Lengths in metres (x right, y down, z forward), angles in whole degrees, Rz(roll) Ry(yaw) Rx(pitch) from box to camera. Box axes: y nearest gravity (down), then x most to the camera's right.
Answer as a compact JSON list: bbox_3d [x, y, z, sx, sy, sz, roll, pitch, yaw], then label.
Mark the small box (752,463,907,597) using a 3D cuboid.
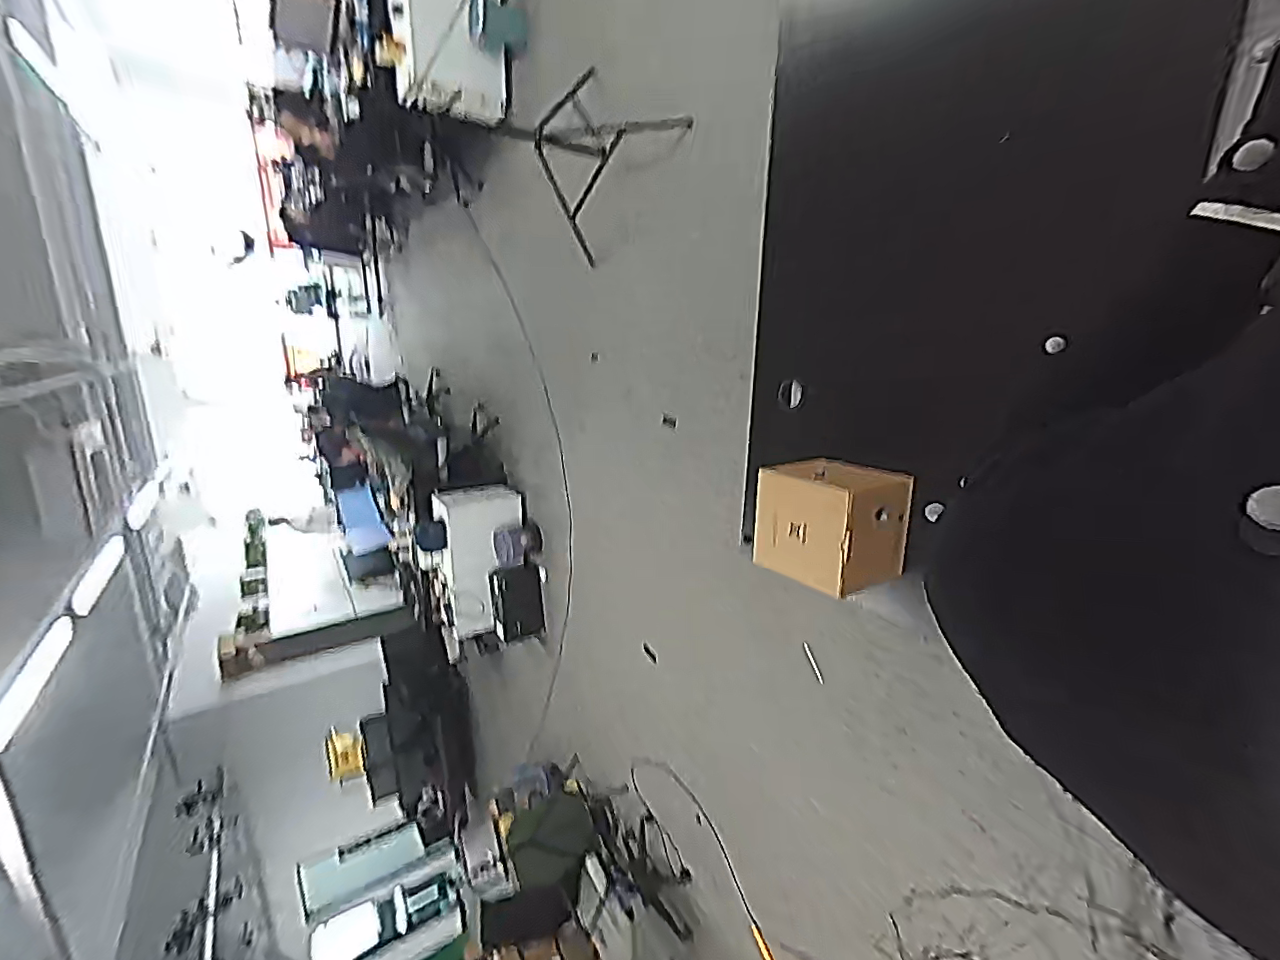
[{"bbox_3d":[0.309,0.069,0.889,0.179,0.176,0.168,18,111,54],"label":"small box"}]
